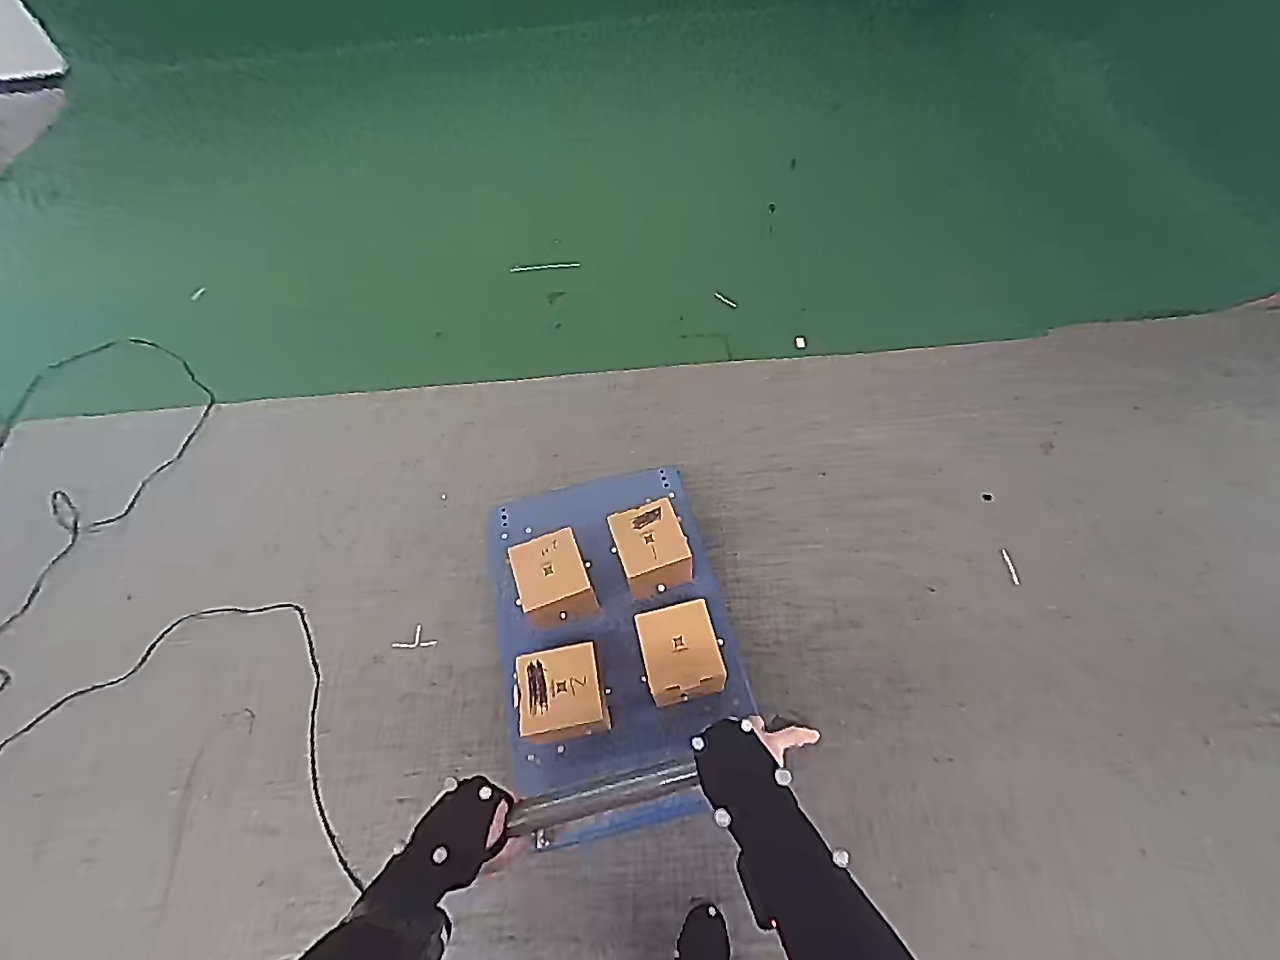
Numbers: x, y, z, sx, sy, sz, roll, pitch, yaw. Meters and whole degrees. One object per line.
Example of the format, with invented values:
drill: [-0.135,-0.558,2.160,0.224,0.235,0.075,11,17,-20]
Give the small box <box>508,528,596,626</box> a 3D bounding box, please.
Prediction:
small box: [-0.217,0.253,1.365,0.168,0.176,0.179,-19,59,-8]

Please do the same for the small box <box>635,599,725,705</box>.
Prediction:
small box: [0.088,0.402,1.254,0.168,0.176,0.179,-13,59,-4]

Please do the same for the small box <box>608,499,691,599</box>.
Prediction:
small box: [0.024,0.180,1.392,0.168,0.176,0.179,-18,60,-6]
